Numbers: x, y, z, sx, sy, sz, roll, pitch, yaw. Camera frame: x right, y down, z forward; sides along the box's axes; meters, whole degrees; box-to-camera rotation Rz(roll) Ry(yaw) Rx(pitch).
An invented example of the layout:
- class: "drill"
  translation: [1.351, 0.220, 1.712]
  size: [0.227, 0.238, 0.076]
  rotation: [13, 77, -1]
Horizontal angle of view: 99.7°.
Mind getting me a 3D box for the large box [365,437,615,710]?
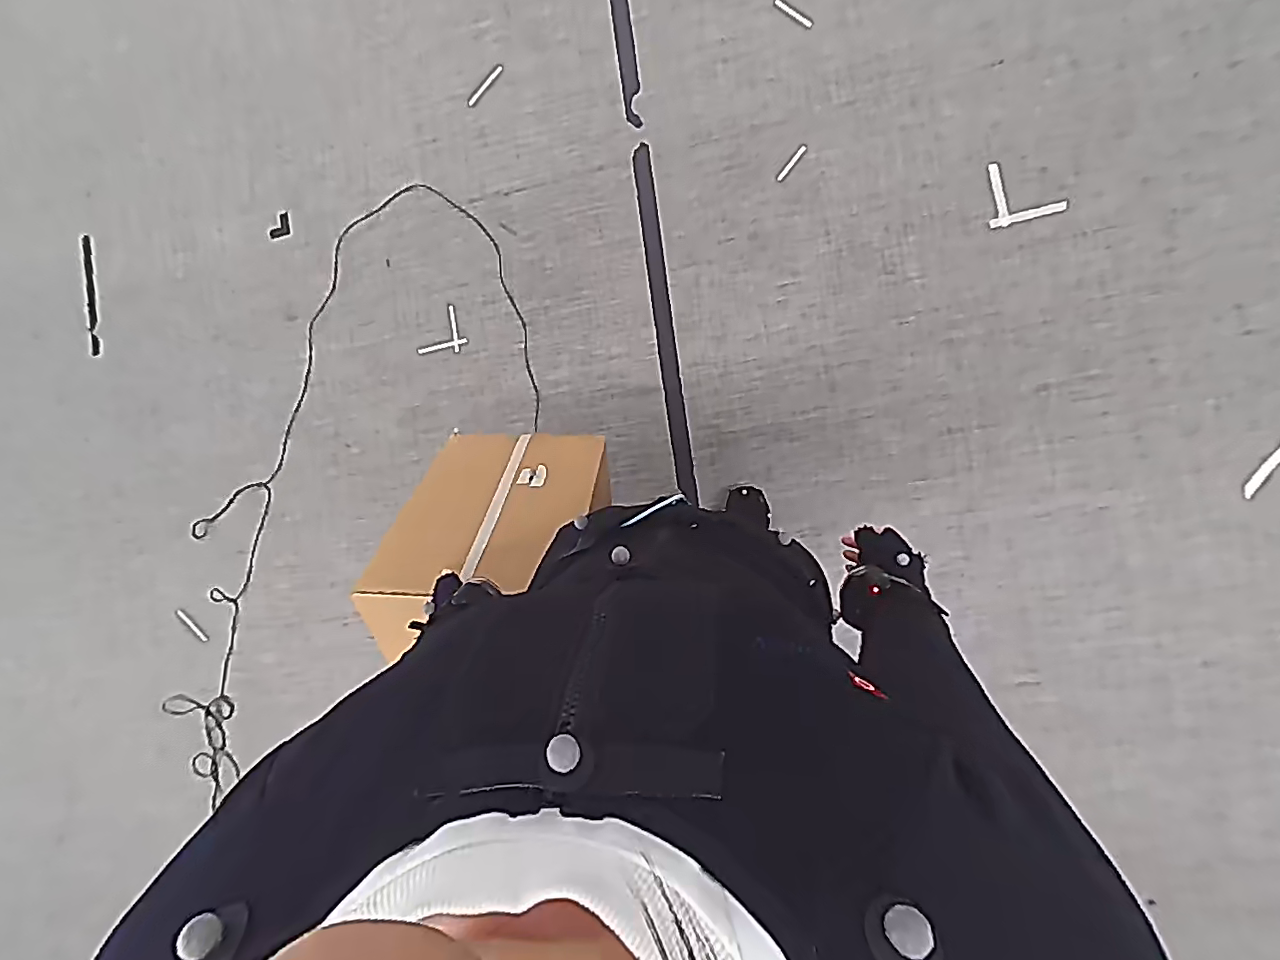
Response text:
- class: "large box"
  translation: [-0.226, 0.160, 1.001]
  size: [0.320, 0.408, 0.320]
  rotation: [2, 128, 4]
